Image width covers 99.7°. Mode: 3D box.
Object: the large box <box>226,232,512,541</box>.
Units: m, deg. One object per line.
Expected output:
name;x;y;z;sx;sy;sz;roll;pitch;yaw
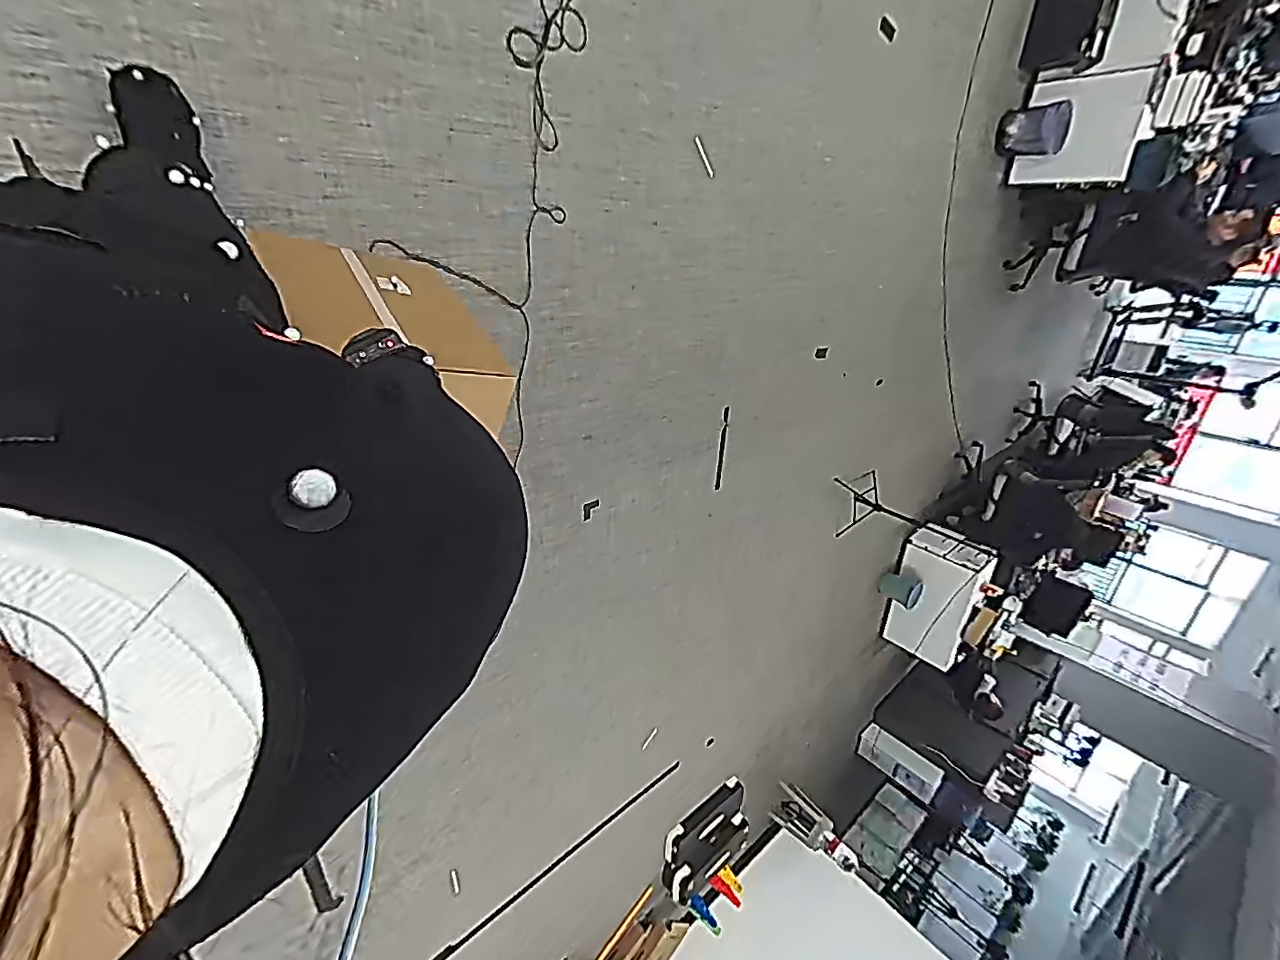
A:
large box;-0.473;-0.157;0.906;0.320;0.408;0.320;-4;131;-43
